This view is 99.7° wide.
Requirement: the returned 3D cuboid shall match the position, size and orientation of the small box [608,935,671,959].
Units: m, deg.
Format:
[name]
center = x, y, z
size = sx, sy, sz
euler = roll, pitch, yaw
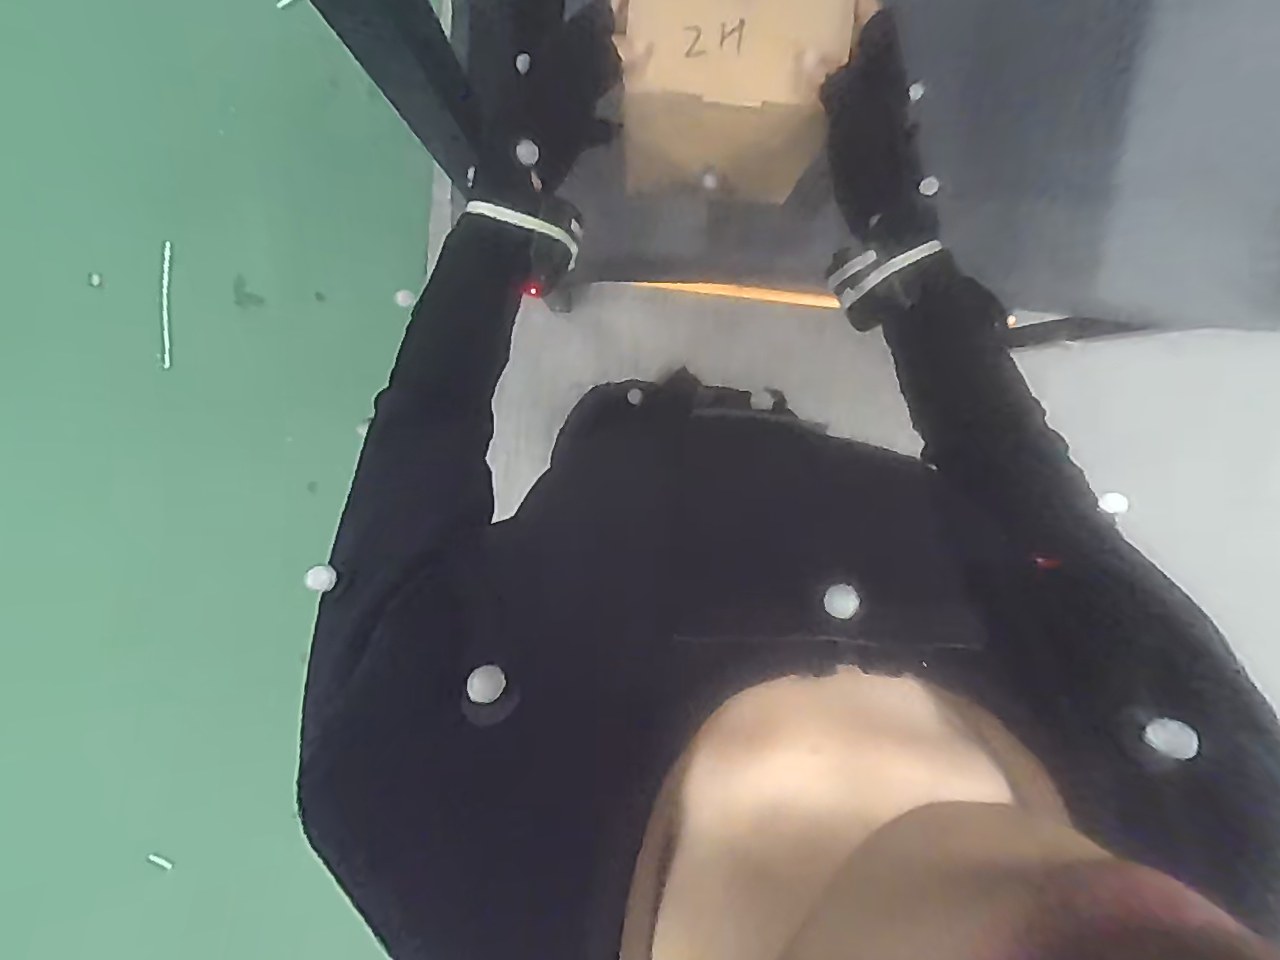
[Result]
[small box]
center = -0.009, 1.510, 1.604
size = 0.179, 0.176, 0.168
euler = 21, 97, -3
